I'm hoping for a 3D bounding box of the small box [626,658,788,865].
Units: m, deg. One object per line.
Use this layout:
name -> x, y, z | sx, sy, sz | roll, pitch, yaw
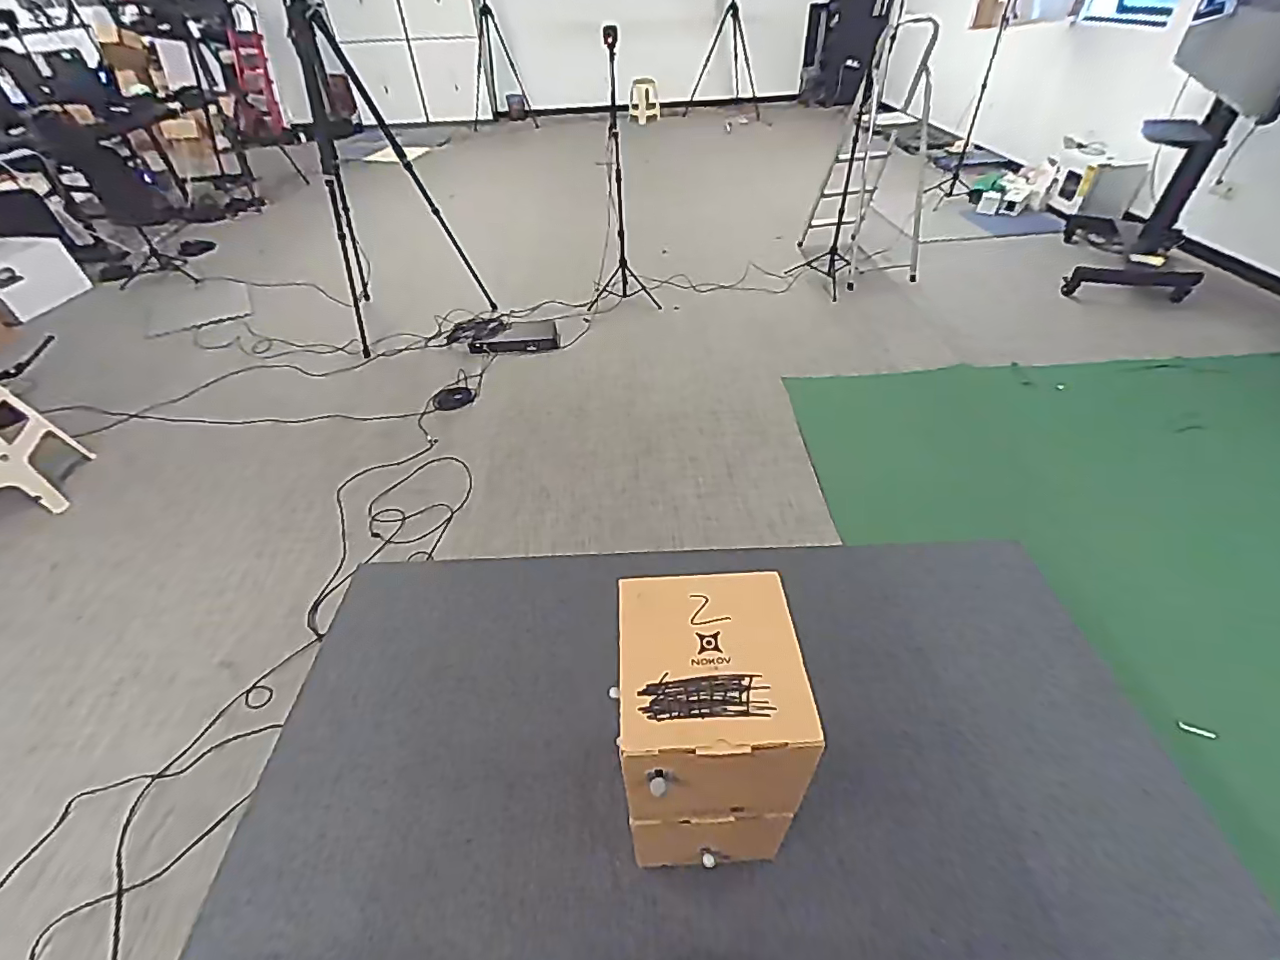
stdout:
small box -> 0.067, 0.341, 0.659 | 0.168, 0.176, 0.179 | -3, 43, 0
